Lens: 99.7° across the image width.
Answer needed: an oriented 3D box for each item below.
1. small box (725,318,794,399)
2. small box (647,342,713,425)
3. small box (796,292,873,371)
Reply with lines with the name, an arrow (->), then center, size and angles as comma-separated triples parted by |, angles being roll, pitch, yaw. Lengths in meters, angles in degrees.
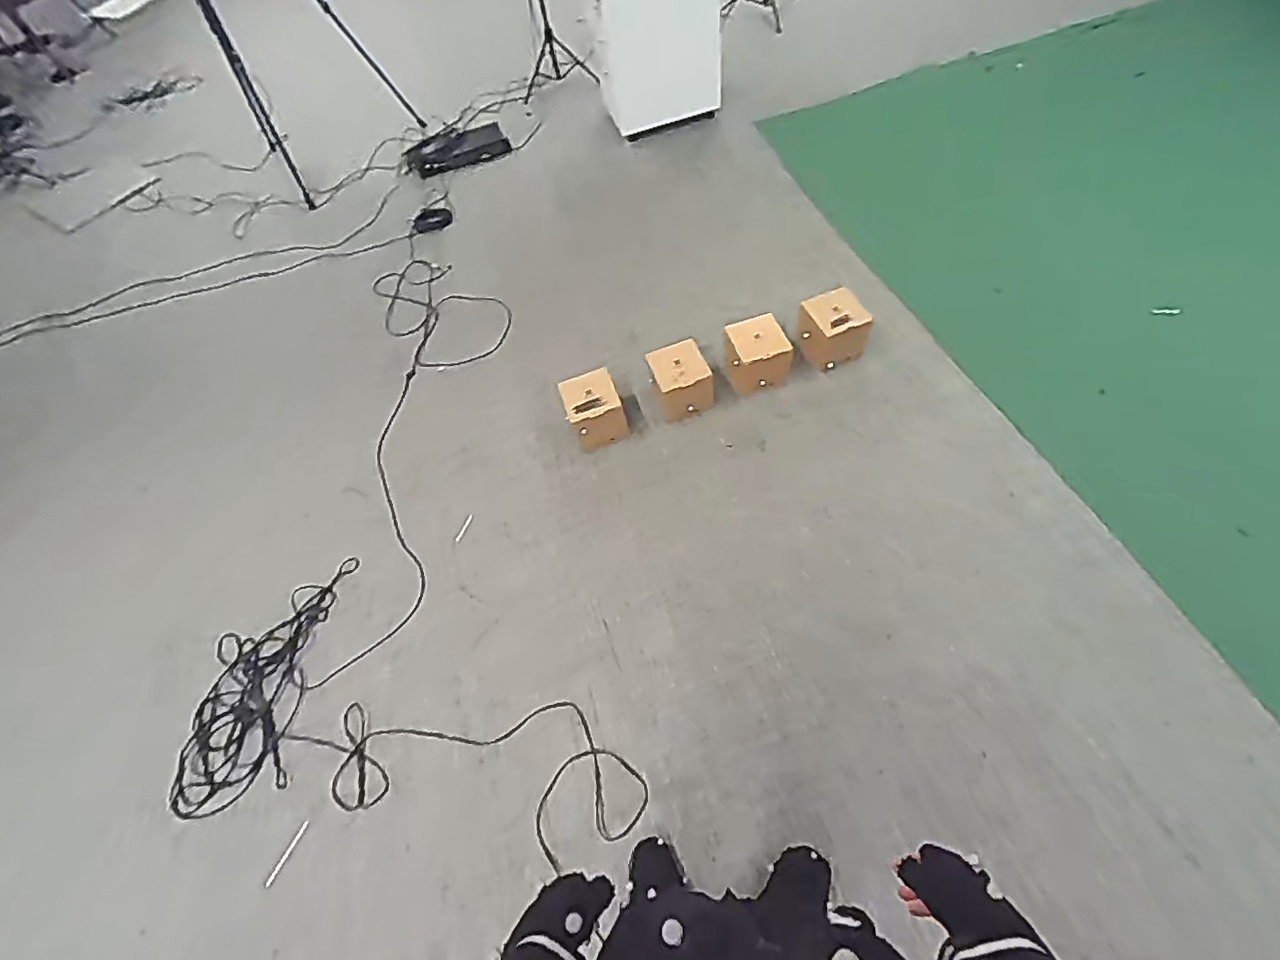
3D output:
small box -> 0.385, -0.397, 1.782 | 0.168, 0.176, 0.179 | -18, 59, -3
small box -> 0.132, -0.311, 1.763 | 0.168, 0.176, 0.179 | -20, 59, -3
small box -> 0.639, -0.485, 1.797 | 0.168, 0.176, 0.179 | -20, 58, -4
